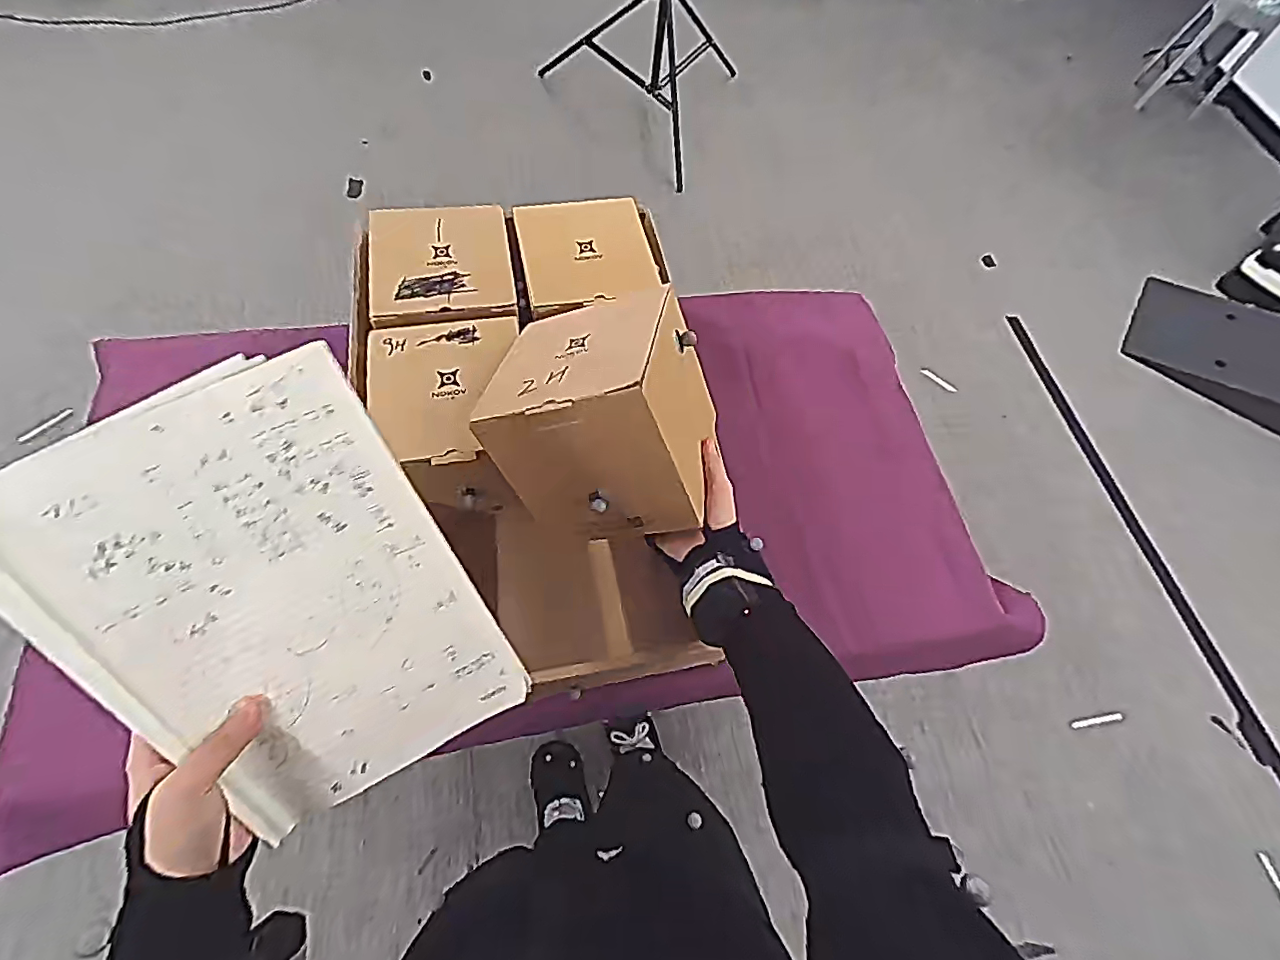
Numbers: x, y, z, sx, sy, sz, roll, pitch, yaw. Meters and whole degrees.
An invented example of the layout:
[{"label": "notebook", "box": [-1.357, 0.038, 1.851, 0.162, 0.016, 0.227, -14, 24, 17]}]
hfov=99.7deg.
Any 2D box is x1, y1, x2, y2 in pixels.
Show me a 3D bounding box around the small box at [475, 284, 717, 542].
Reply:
[{"label": "small box", "box": [-0.025, -0.061, 0.538, 0.168, 0.176, 0.179, -9, 42, 21]}]
